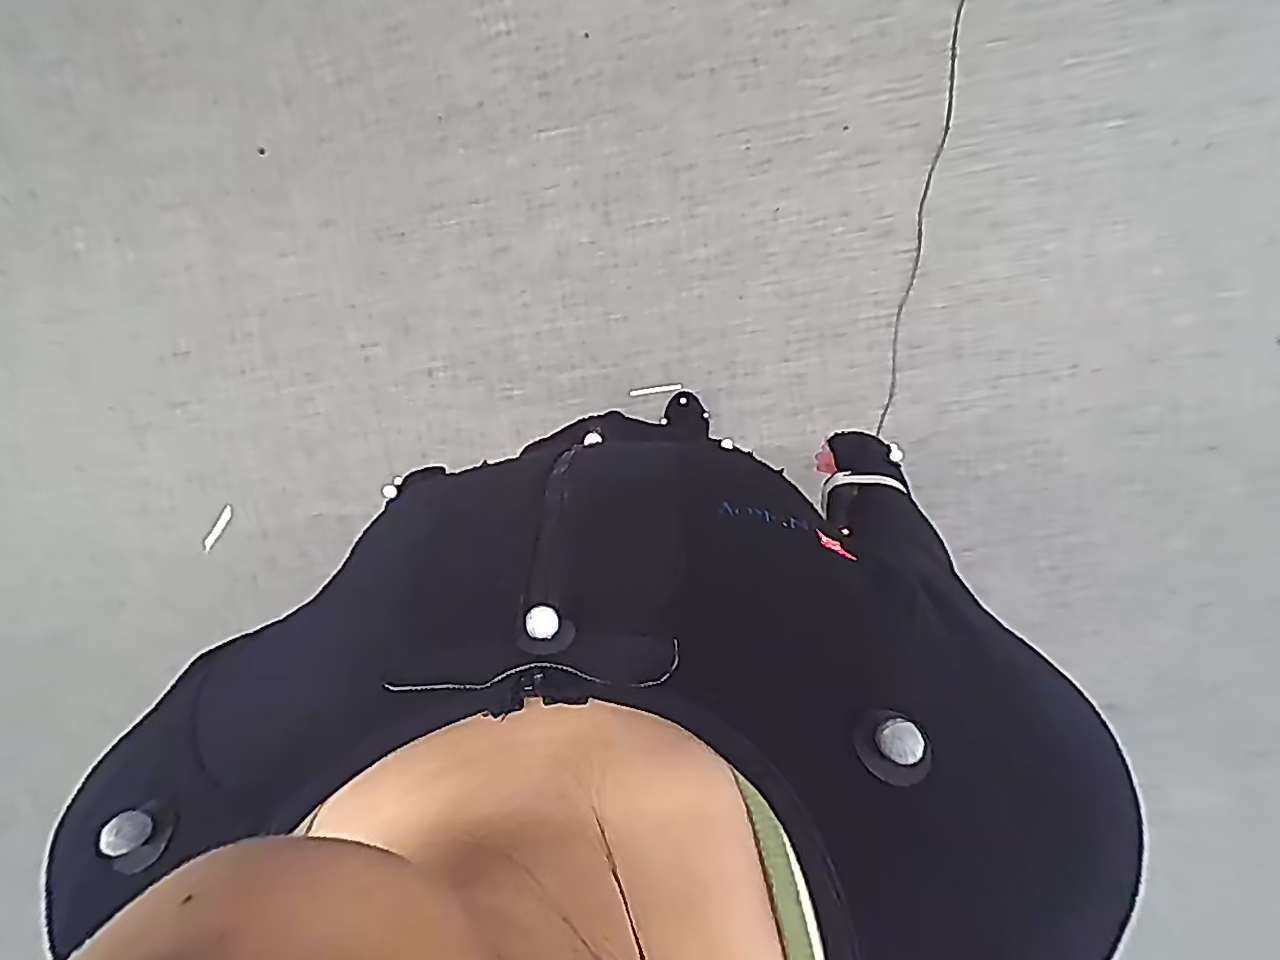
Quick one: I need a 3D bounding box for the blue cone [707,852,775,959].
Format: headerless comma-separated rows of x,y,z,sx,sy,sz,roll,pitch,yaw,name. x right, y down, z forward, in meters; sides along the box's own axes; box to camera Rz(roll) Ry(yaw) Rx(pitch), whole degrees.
0.294,1.228,1.459,0.193,0.380,0.192,-9,97,4,blue cone
